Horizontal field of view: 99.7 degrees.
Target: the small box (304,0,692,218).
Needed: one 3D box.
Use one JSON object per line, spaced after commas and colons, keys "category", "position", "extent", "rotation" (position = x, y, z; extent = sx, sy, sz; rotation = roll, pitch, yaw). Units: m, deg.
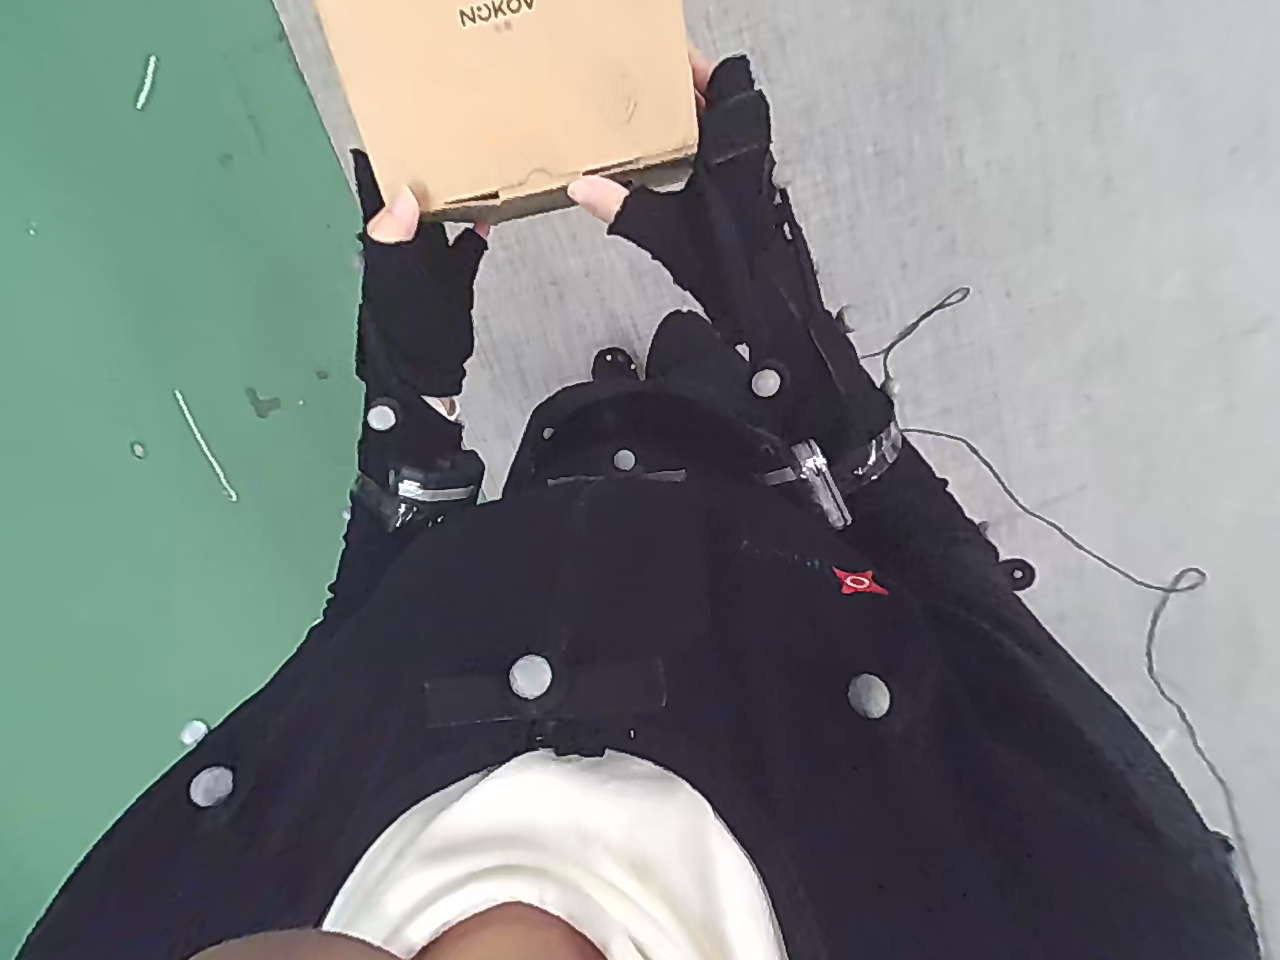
{"category": "small box", "position": [-0.066, -0.265, 0.306], "extent": [0.168, 0.176, 0.179], "rotation": [-12, 114, 10]}
